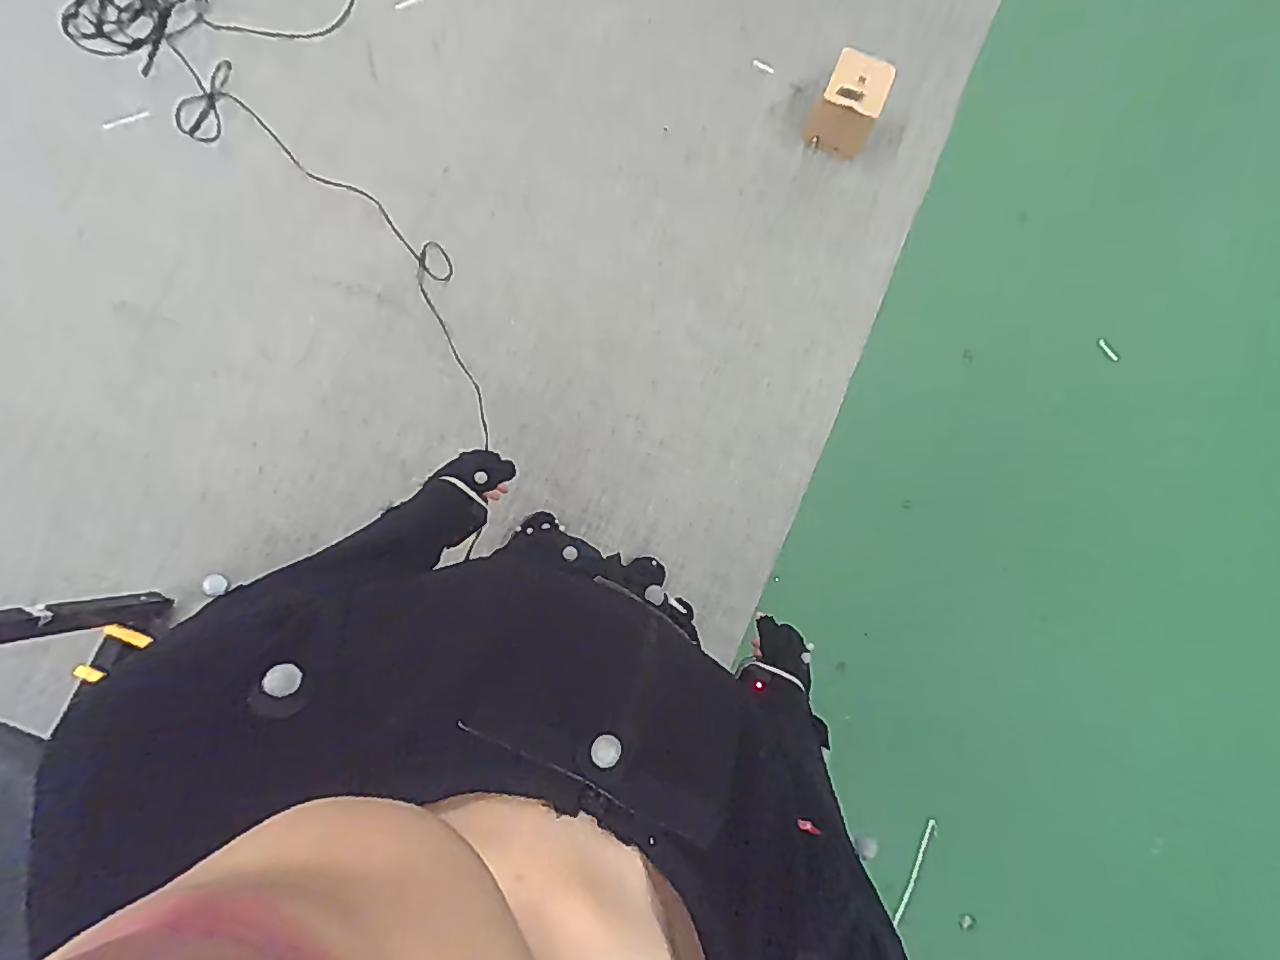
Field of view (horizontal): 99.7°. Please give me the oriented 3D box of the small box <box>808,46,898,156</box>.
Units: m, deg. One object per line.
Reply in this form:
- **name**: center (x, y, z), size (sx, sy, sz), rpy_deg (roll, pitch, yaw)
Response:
- **small box**: center (0.611, -1.093, 1.575), size (0.168, 0.176, 0.179), rpy_deg (23, 83, -1)
